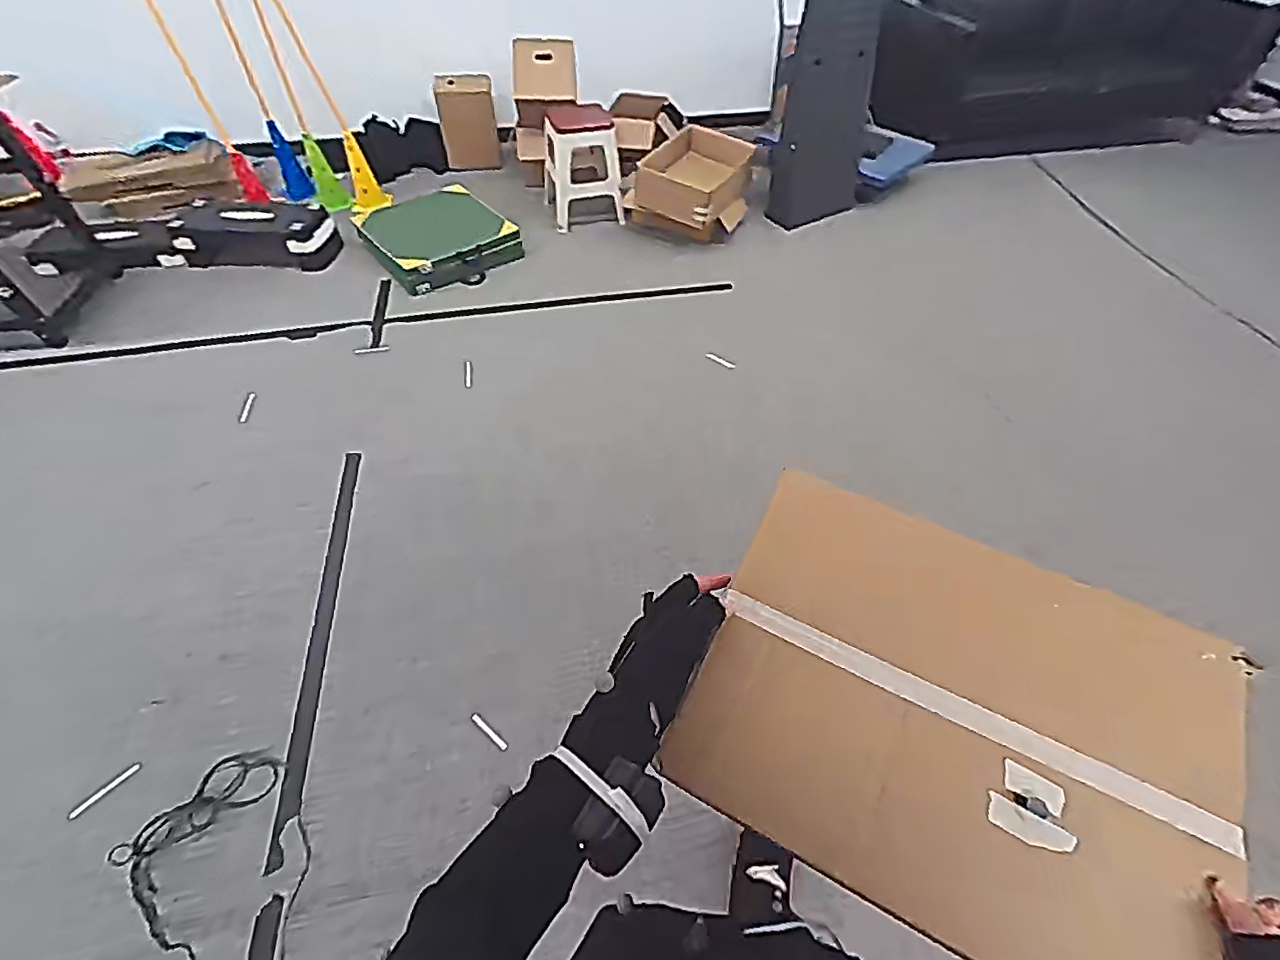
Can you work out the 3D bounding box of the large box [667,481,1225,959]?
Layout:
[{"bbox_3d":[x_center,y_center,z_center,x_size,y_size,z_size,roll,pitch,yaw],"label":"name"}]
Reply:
[{"bbox_3d":[0.270,0.263,0.593,0.408,0.320,0.320,24,66,15],"label":"large box"}]
